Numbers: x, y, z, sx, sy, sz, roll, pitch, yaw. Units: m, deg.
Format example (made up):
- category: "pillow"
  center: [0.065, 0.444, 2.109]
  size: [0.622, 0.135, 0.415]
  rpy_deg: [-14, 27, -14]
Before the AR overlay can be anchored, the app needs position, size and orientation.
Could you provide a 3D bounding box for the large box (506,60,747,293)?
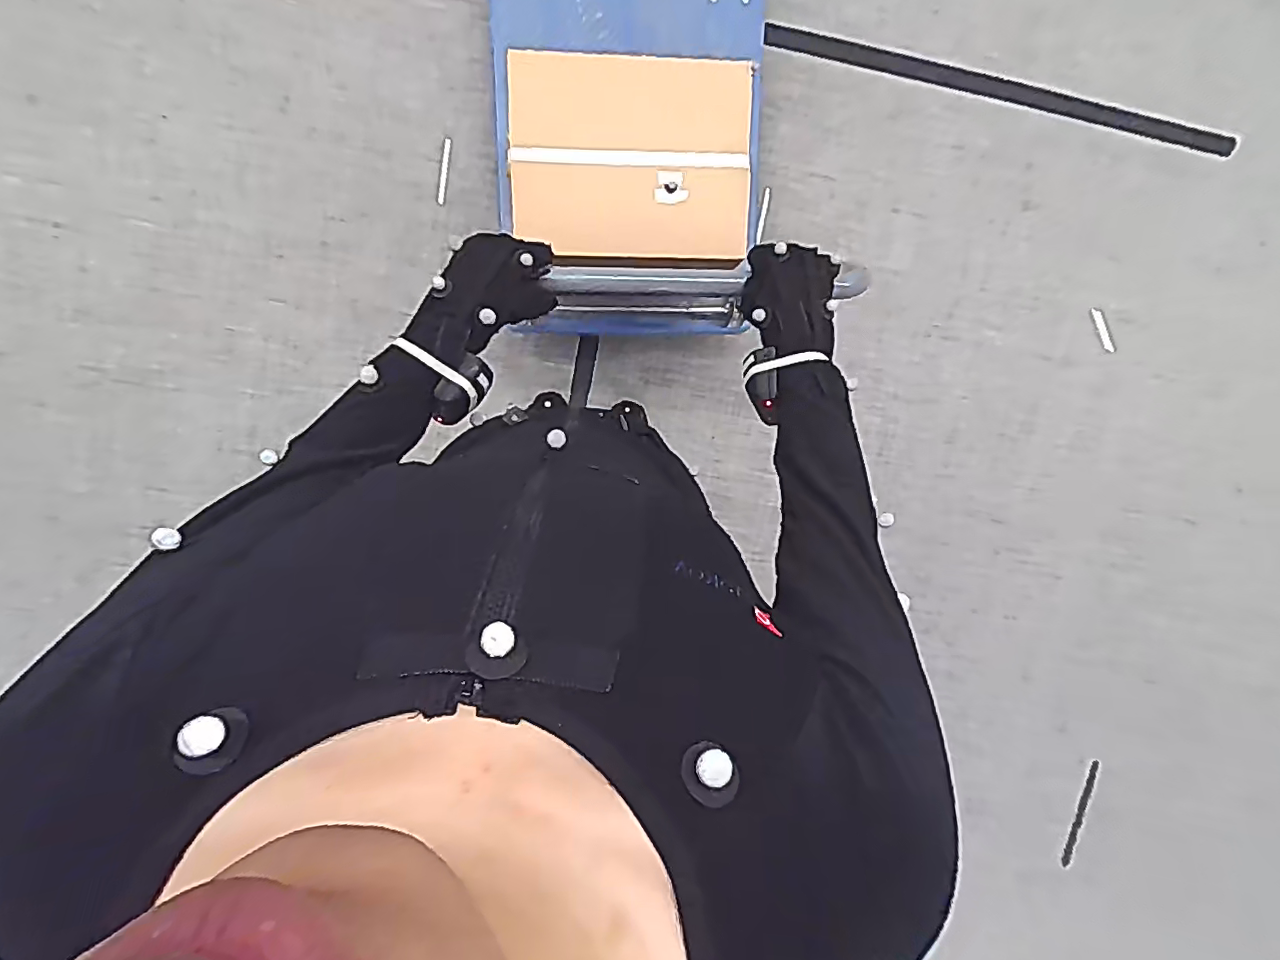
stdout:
- category: "large box"
  center: [-0.031, -0.553, 1.054]
  size: [0.408, 0.320, 0.320]
  rpy_deg: [-1, 100, -5]
